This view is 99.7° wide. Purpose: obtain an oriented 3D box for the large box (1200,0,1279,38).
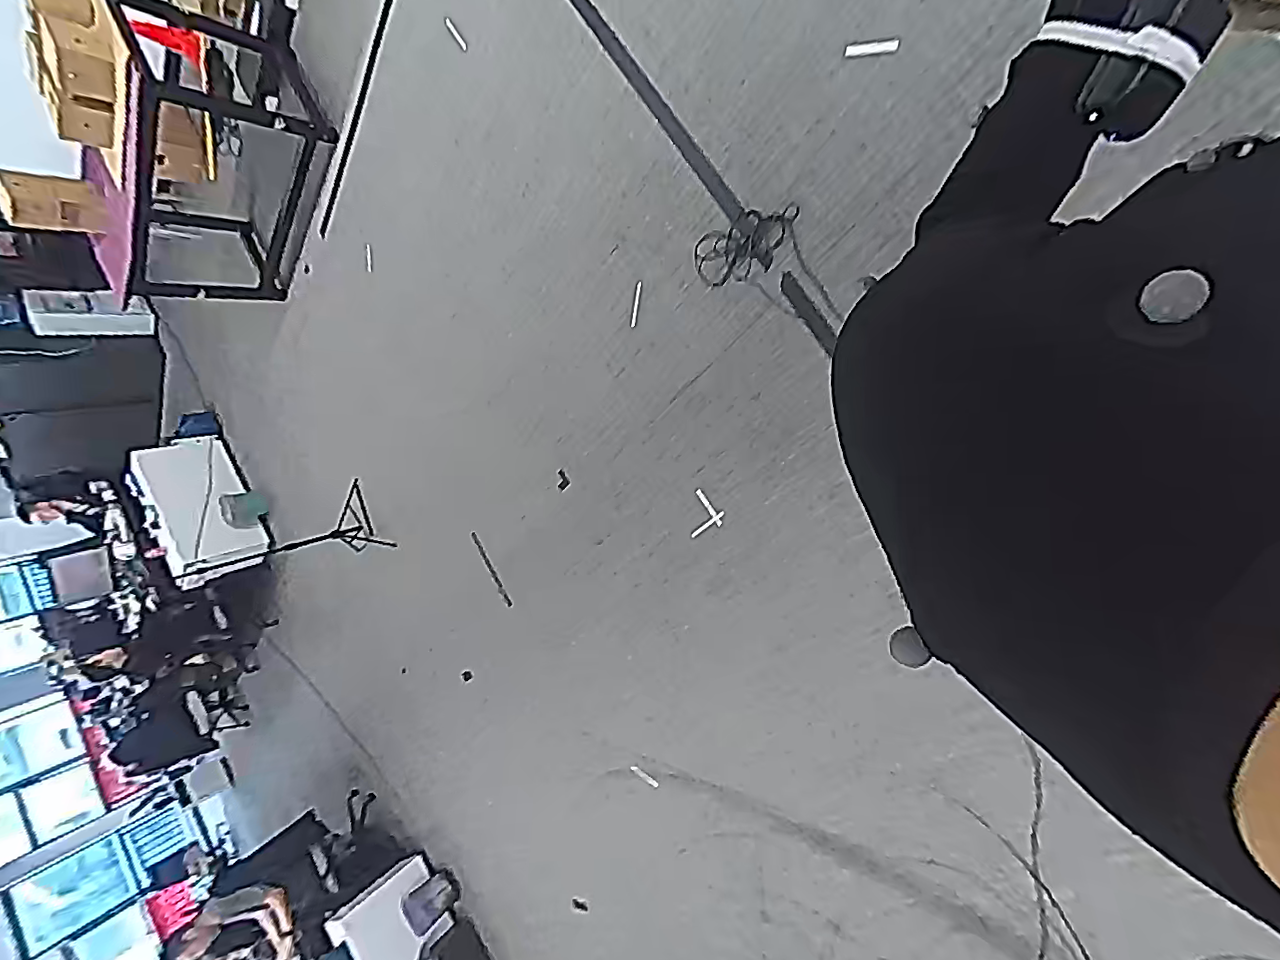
[{"bbox_3d":[0.593,-0.389,0.234,0.408,0.320,0.320,32,137,27],"label":"large box"}]
